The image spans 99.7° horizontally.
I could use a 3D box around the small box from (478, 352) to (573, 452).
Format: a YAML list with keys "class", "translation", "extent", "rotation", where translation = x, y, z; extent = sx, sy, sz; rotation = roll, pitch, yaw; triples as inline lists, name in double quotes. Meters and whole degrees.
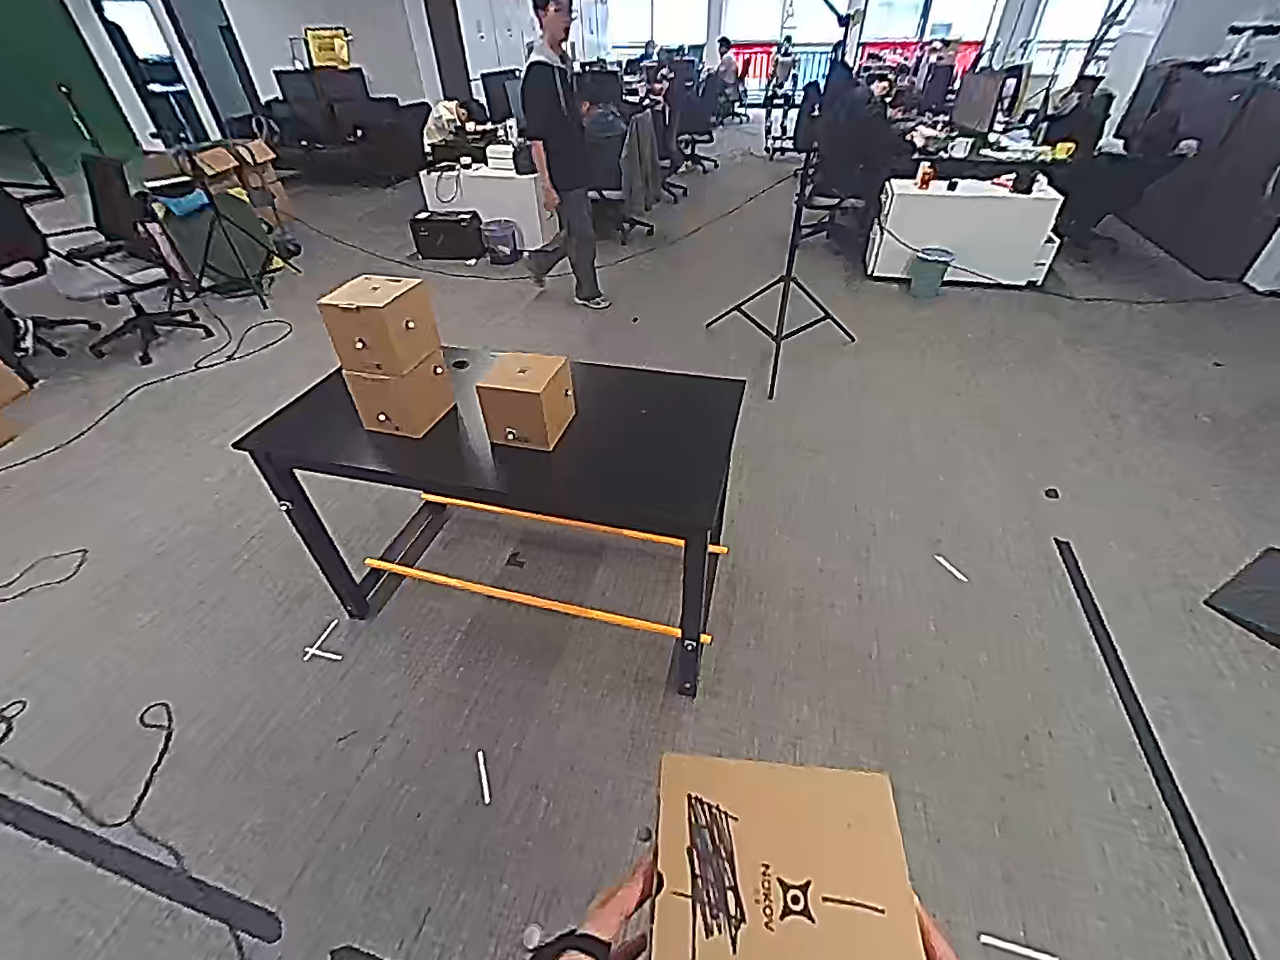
- class: "small box"
  translation: [-0.271, -0.193, 1.327]
  extent: [0.168, 0.176, 0.179]
  rotation: [8, 42, 12]

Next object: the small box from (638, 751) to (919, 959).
- class: "small box"
  translation: [0.090, 0.330, 0.418]
  extent: [0.179, 0.176, 0.168]
  rotation: [4, 47, 3]

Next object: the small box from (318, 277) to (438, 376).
- class: "small box"
  translation: [-0.605, -0.363, 1.279]
  extent: [0.168, 0.176, 0.179]
  rotation: [8, 42, 11]

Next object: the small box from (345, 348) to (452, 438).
- class: "small box"
  translation: [-0.602, -0.232, 1.378]
  extent: [0.168, 0.176, 0.179]
  rotation: [10, 42, 13]
